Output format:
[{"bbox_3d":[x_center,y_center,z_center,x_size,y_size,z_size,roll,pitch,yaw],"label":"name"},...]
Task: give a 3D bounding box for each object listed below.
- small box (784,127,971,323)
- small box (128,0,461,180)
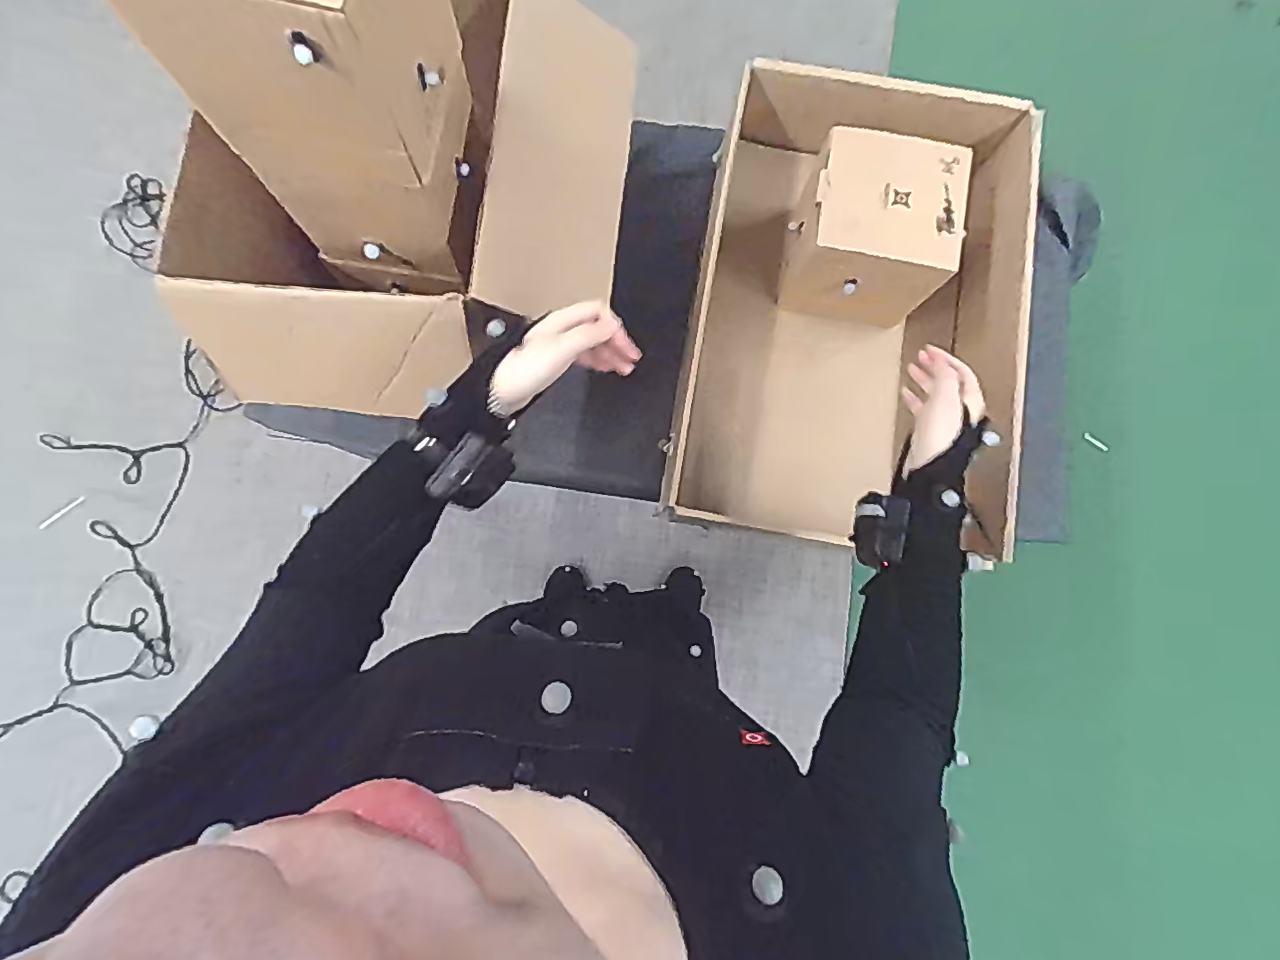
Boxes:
[{"bbox_3d":[0.306,-0.331,0.732,0.179,0.176,0.168,10,83,2],"label":"small box"},{"bbox_3d":[-0.262,-0.375,0.431,0.179,0.176,0.168,9,80,-4],"label":"small box"}]
